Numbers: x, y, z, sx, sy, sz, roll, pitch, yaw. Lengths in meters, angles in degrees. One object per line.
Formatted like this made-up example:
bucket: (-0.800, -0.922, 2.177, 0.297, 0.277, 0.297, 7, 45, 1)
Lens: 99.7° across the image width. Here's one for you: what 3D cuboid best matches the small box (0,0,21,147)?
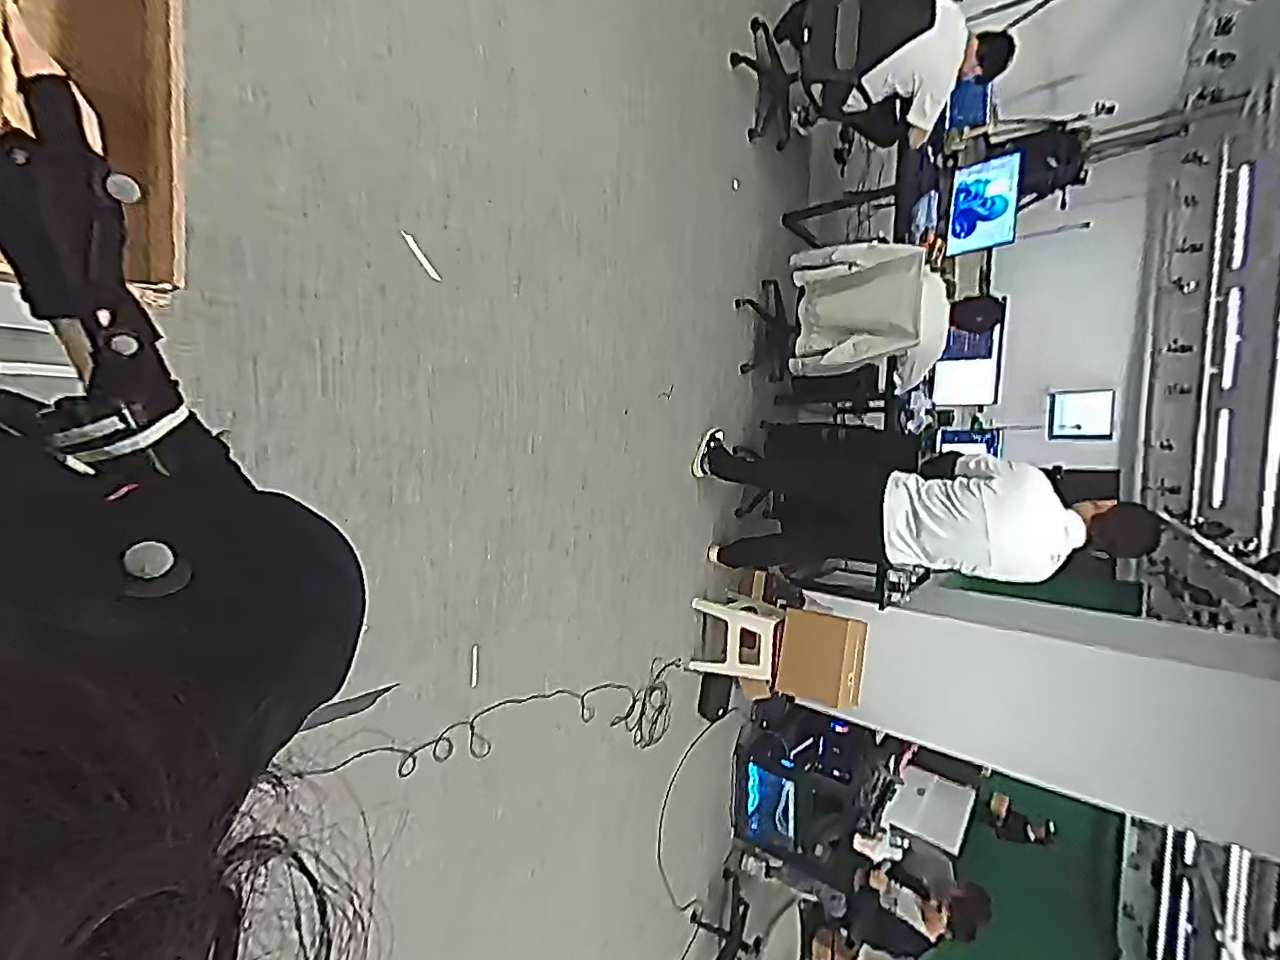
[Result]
small box: (-0.684, -0.418, 0.474, 0.179, 0.176, 0.168, -2, 100, -51)
